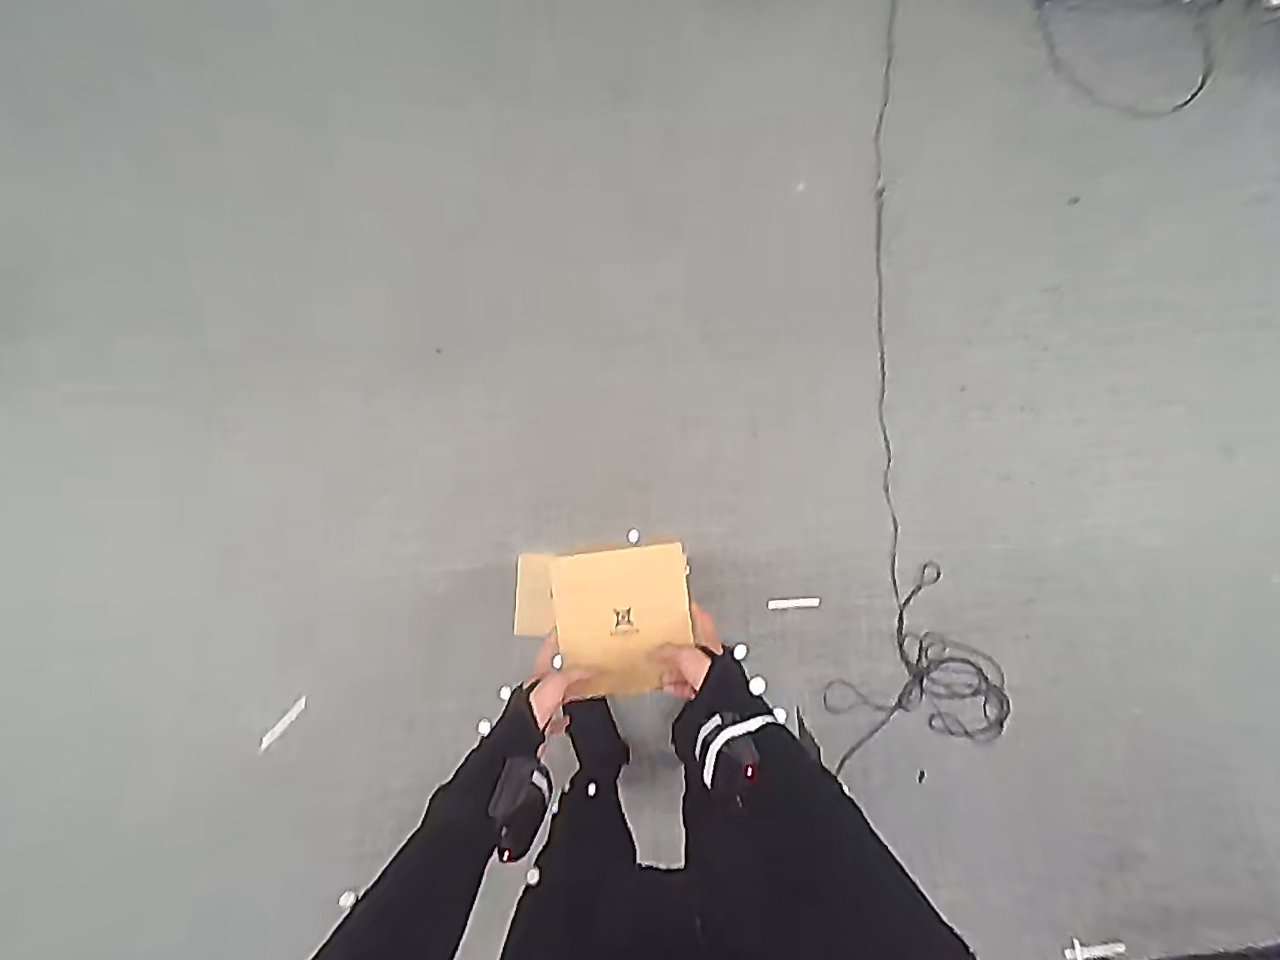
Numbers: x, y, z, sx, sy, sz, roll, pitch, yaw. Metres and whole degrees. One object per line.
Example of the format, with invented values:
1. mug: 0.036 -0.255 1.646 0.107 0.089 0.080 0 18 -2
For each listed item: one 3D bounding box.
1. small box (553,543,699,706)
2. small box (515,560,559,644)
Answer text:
1. small box: -0.019 0.180 0.730 0.168 0.176 0.179 -6 88 0
2. small box: -0.162 0.260 1.170 0.179 0.176 0.168 1 79 0
